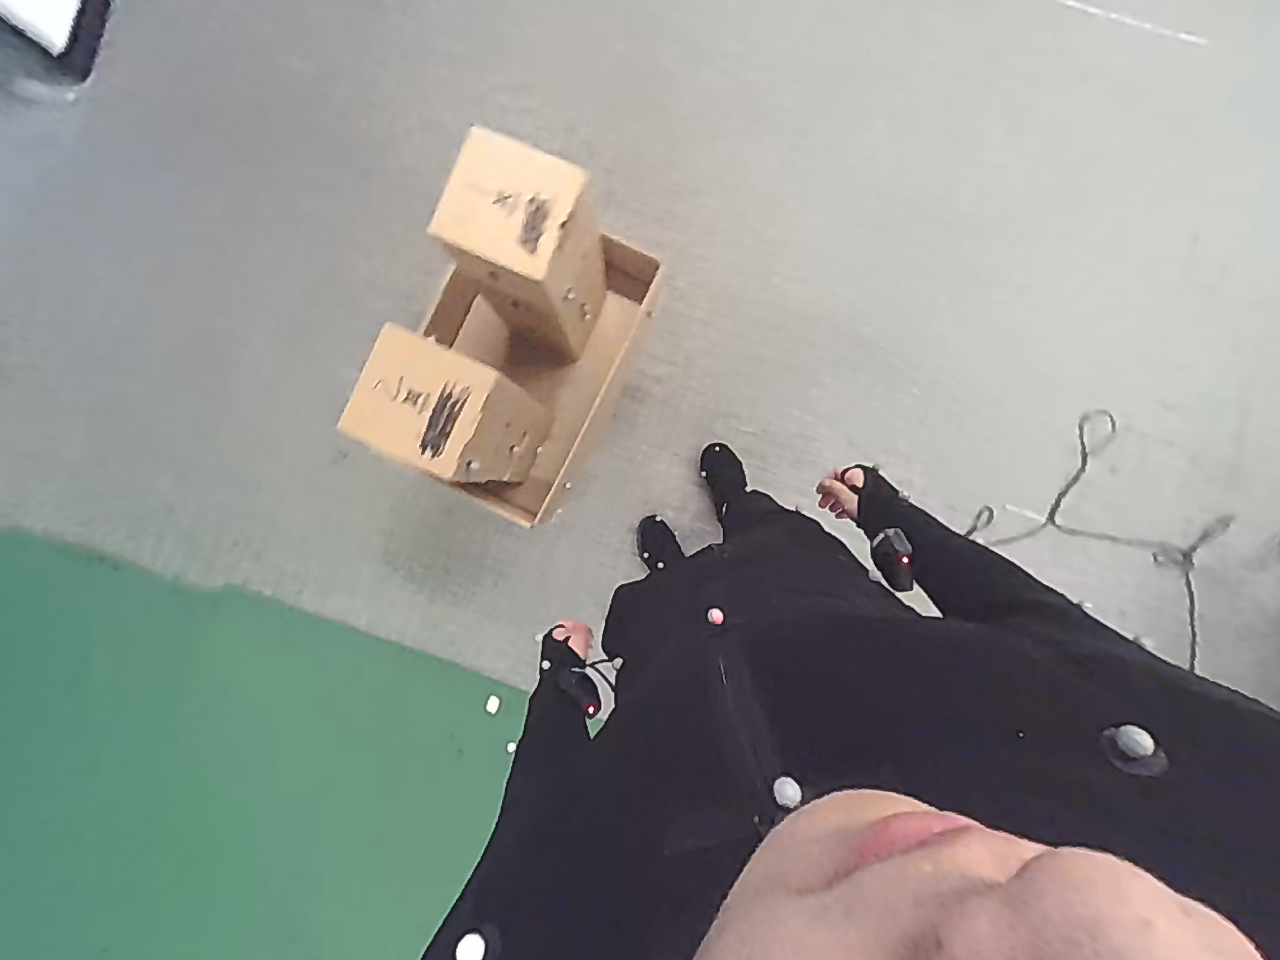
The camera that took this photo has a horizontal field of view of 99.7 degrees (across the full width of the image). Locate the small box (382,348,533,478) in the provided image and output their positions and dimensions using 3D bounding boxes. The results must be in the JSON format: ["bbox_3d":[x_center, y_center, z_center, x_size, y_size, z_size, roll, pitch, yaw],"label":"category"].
[{"bbox_3d":[-0.315,-0.108,0.971,0.179,0.176,0.168,26,89,0],"label":"small box"}]

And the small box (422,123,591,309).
[{"bbox_3d":[-0.185,-0.376,0.810,0.179,0.176,0.168,23,90,1],"label":"small box"}]

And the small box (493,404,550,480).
[{"bbox_3d":[-0.311,-0.104,1.132,0.179,0.176,0.168,26,90,1],"label":"small box"}]

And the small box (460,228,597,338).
[{"bbox_3d":[-0.189,-0.377,0.974,0.179,0.176,0.168,24,90,-1],"label":"small box"}]
